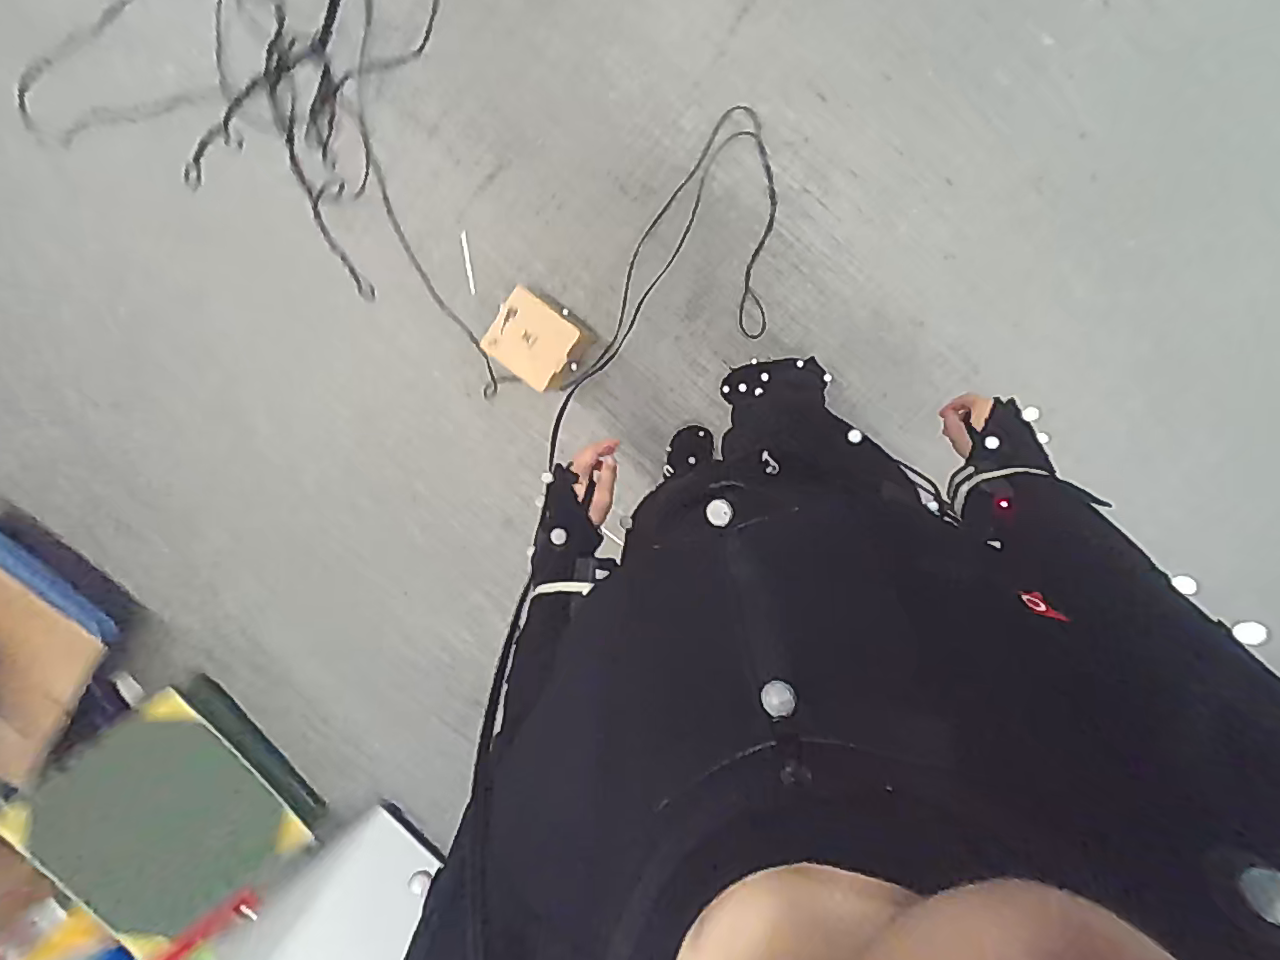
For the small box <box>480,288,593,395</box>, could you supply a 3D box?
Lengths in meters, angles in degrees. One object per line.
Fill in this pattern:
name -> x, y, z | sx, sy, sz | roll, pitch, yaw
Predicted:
small box -> -0.230, -0.320, 1.254 | 0.179, 0.176, 0.168 | 37, 104, -3
